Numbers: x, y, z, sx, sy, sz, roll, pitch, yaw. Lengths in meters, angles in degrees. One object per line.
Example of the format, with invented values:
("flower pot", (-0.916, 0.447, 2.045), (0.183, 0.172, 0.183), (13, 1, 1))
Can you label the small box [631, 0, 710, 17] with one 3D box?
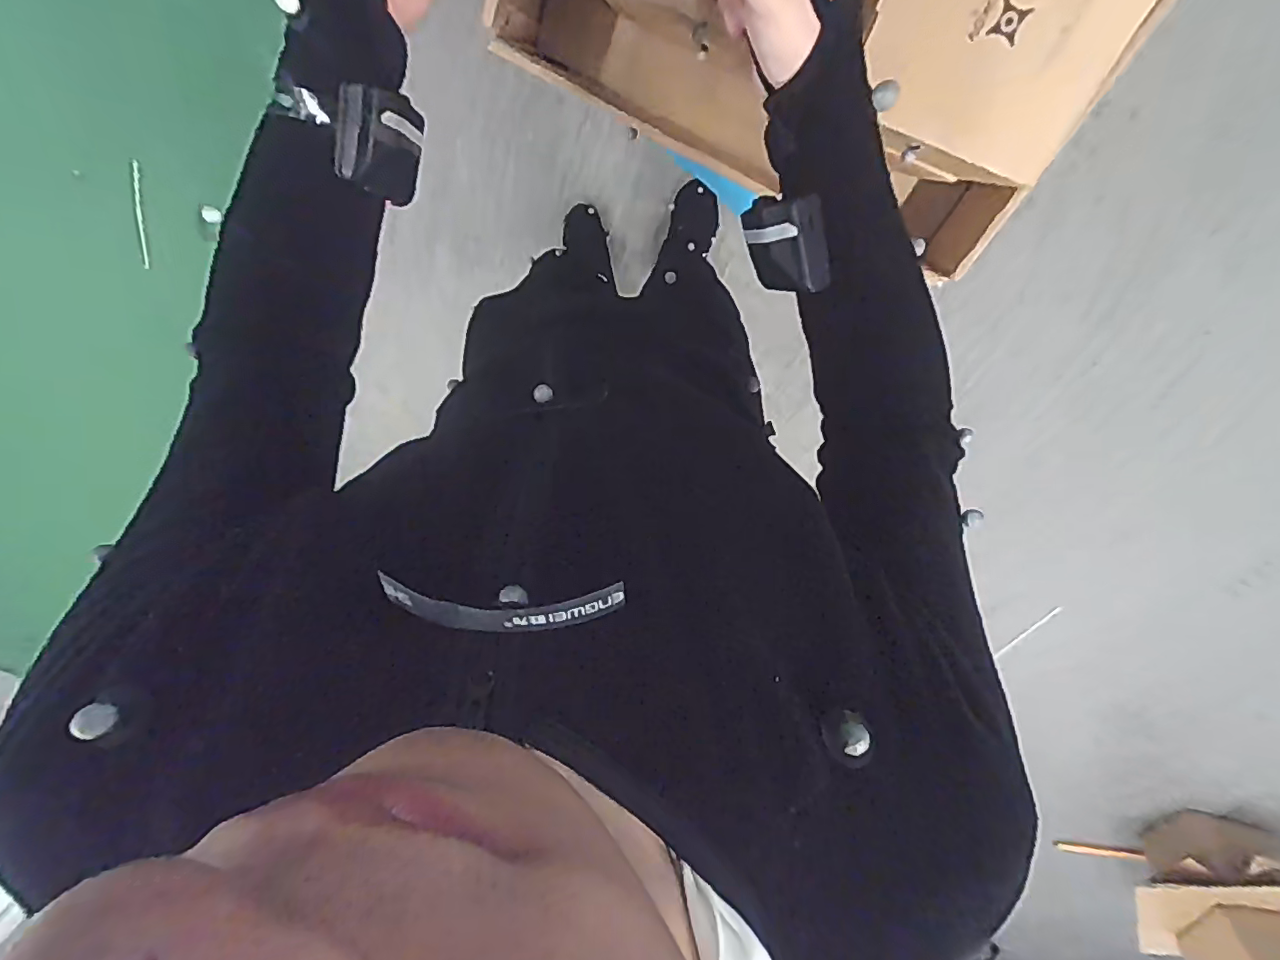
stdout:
("small box", (-0.026, -0.374, 0.275), (0.179, 0.176, 0.168), (20, 124, -3))

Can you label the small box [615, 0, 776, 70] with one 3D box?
("small box", (0.071, -0.564, 0.567), (0.179, 0.176, 0.168), (23, 123, -7))

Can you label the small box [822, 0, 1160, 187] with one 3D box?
("small box", (0.274, -0.367, 0.454), (0.179, 0.176, 0.168), (21, 123, -3))
